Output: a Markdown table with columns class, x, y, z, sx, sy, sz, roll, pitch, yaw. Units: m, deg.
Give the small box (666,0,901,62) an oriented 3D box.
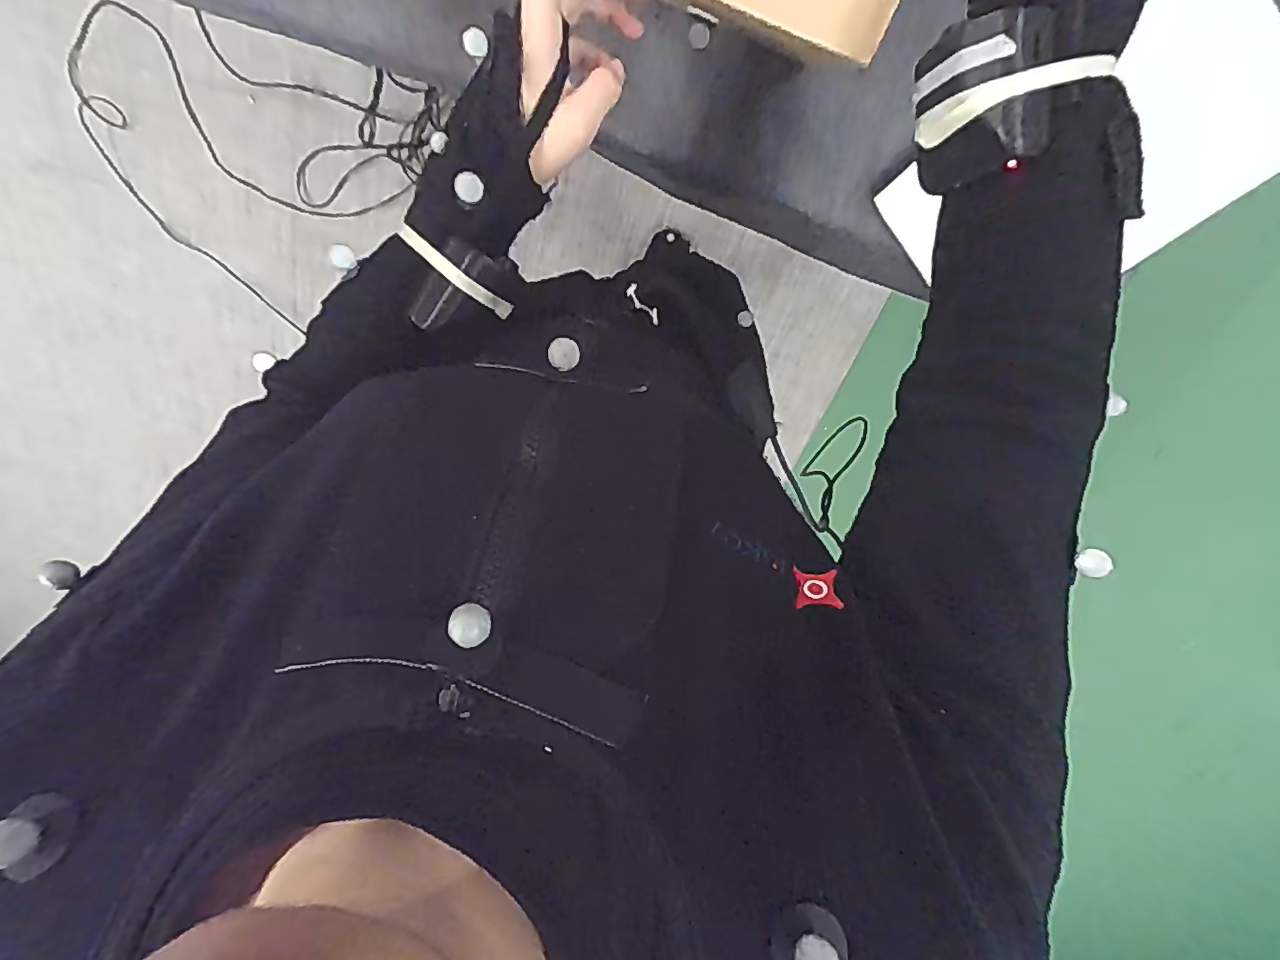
| class | x | y | z | sx | sy | sz | roll | pitch | yaw |
| --- | --- | --- | --- | --- | --- | --- | --- | --- | --- |
| small box | 0.086 | -0.369 | 0.303 | 0.168 | 0.176 | 0.179 | 17 | 128 | -7 |
